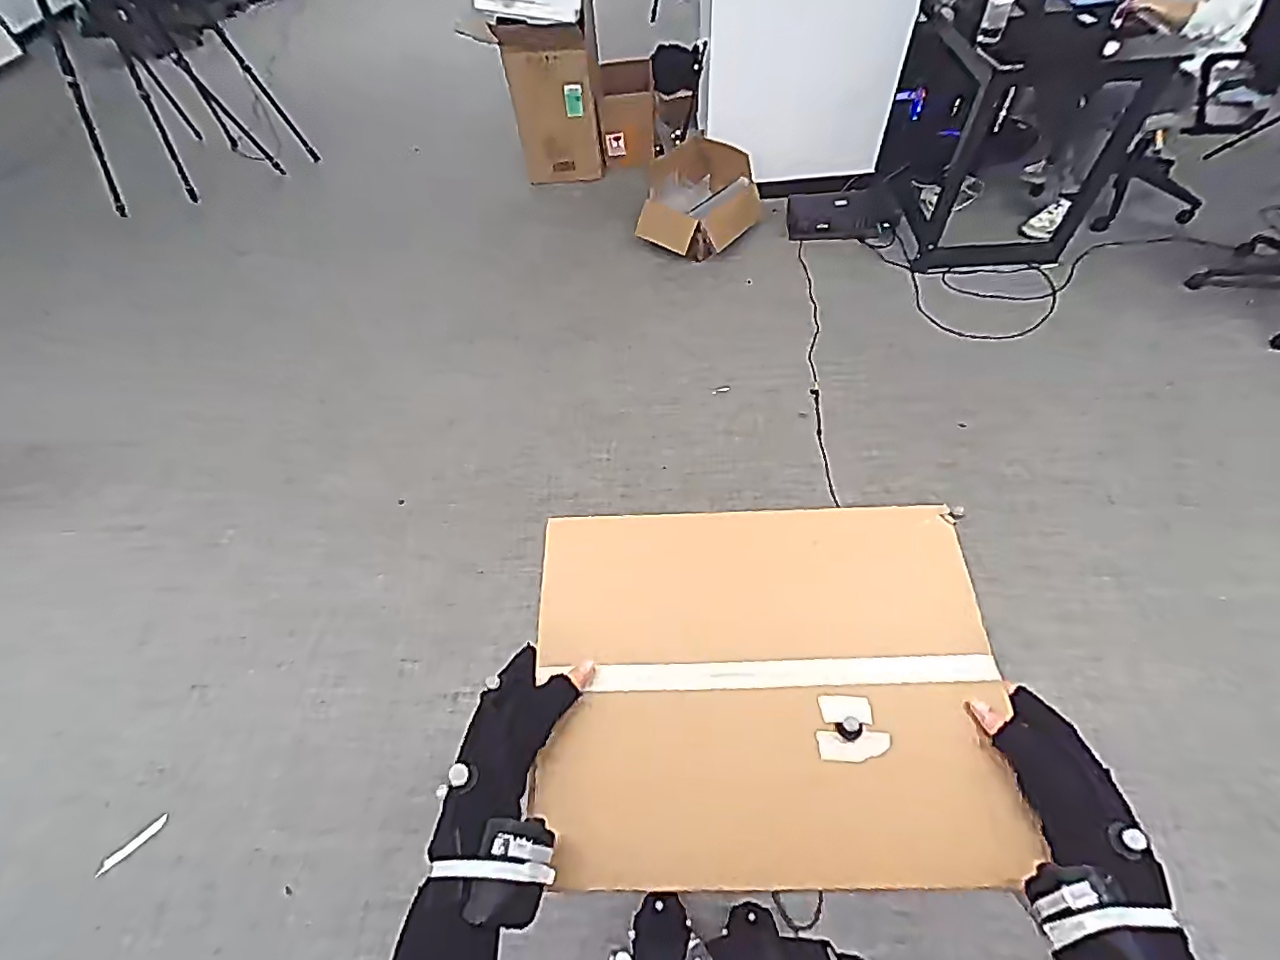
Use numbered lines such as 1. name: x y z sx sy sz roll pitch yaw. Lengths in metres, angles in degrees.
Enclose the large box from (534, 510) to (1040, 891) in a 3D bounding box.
1. large box: 0.114 0.244 0.620 0.408 0.320 0.320 -2 63 2
